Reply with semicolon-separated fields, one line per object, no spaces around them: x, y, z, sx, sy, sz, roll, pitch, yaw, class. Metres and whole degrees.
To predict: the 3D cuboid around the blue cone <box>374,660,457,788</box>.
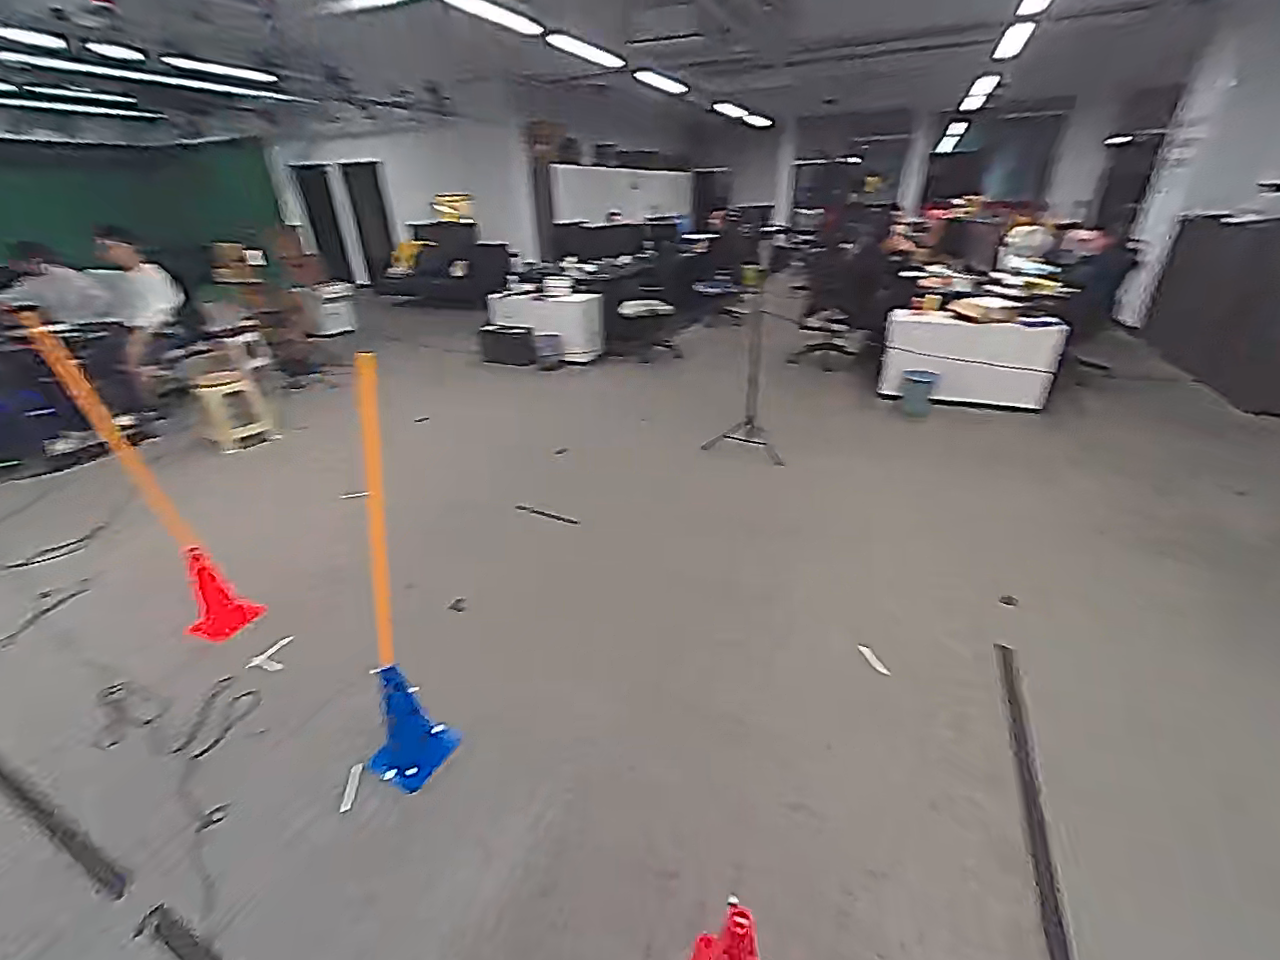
-0.669;0.662;1.529;0.192;0.380;0.193;12;30;26;blue cone

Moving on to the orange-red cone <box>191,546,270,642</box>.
-1.613;0.407;2.056;0.198;0.360;0.199;8;30;19;orange-red cone
